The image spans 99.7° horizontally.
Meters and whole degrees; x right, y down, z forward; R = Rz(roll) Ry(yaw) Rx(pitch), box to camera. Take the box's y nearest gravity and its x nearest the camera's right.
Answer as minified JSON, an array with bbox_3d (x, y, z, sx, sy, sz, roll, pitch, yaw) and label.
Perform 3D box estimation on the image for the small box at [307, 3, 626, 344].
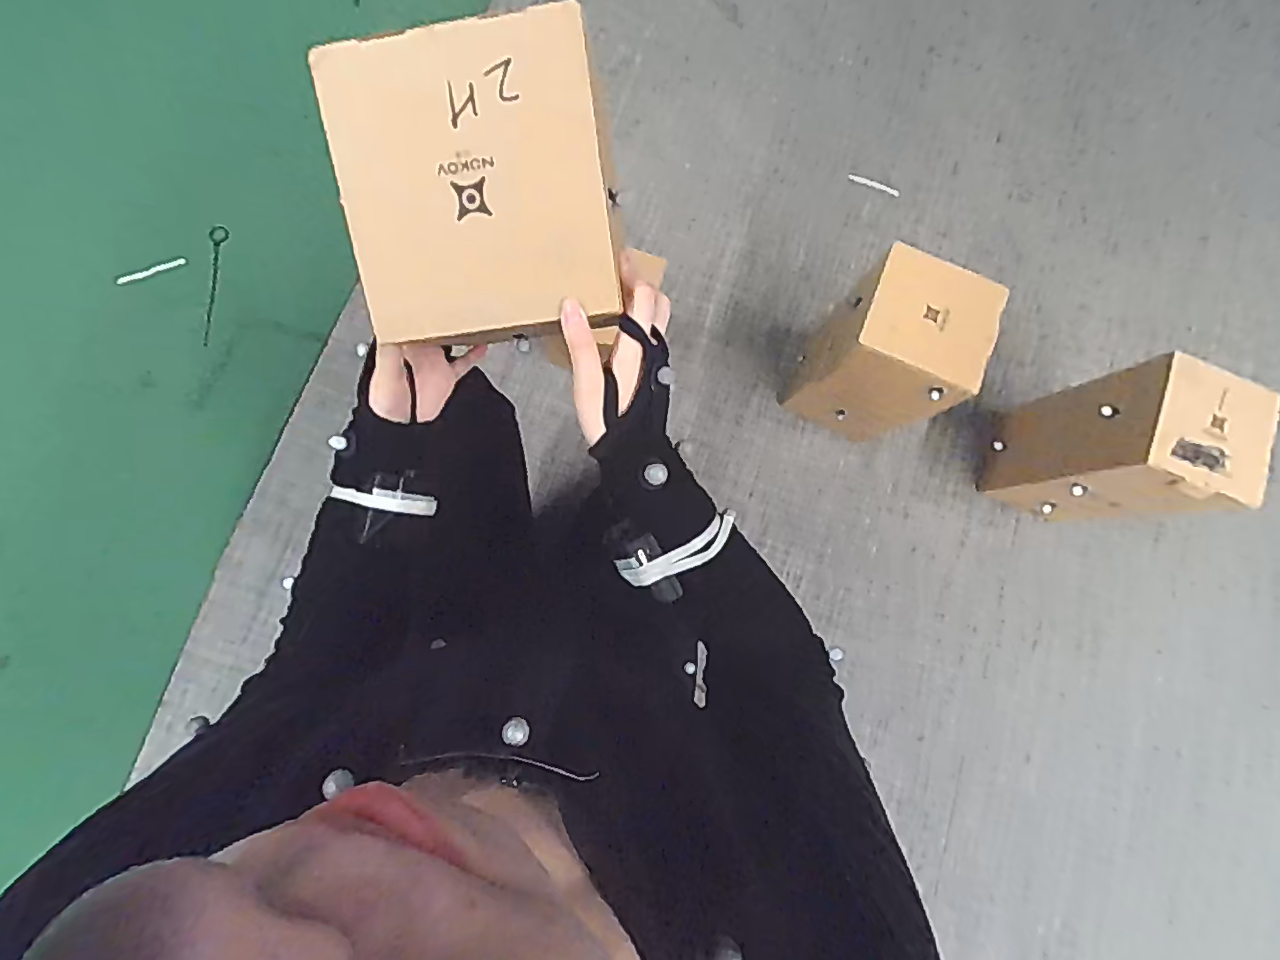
[{"bbox_3d":[-0.106,-0.204,0.416,0.168,0.176,0.179,-7,103,4],"label":"small box"}]

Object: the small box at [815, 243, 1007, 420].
[{"bbox_3d":[0.388,-0.207,0.806,0.179,0.176,0.168,23,80,0],"label":"small box"}]

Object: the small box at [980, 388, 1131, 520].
[{"bbox_3d":[0.756,-0.035,0.973,0.168,0.176,0.179,22,81,-1],"label":"small box"}]

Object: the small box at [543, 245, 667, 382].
[{"bbox_3d":[-0.062,-0.293,0.953,0.168,0.176,0.179,18,80,-2],"label":"small box"}]

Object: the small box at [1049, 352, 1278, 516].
[{"bbox_3d":[0.764,-0.056,0.809,0.168,0.176,0.179,23,80,-1],"label":"small box"}]
